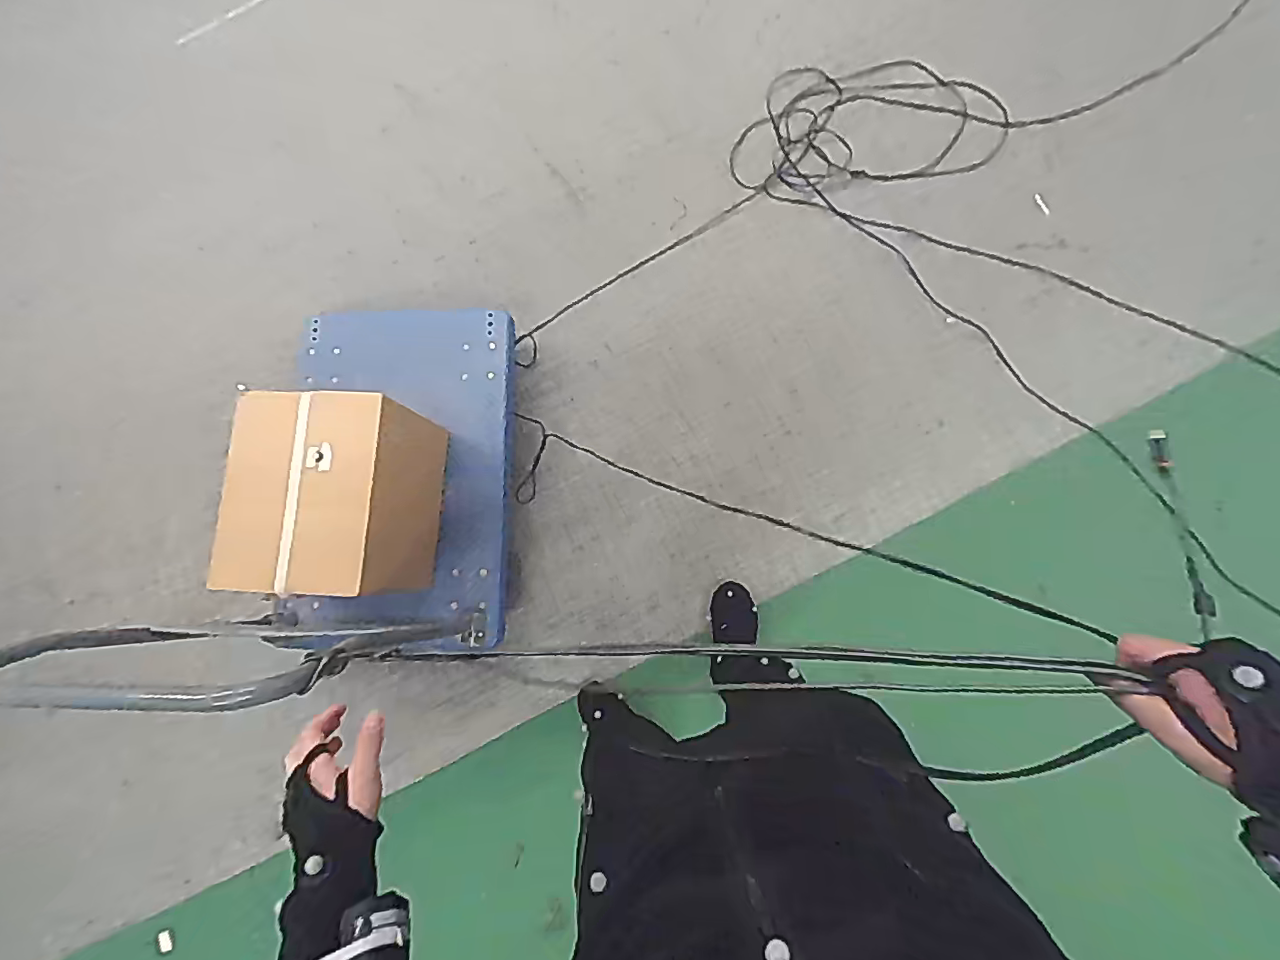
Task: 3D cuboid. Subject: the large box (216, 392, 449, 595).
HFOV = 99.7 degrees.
[{"bbox_3d":[-0.647,0.045,1.199,0.320,0.320,0.408,2,81,5],"label":"large box"}]
